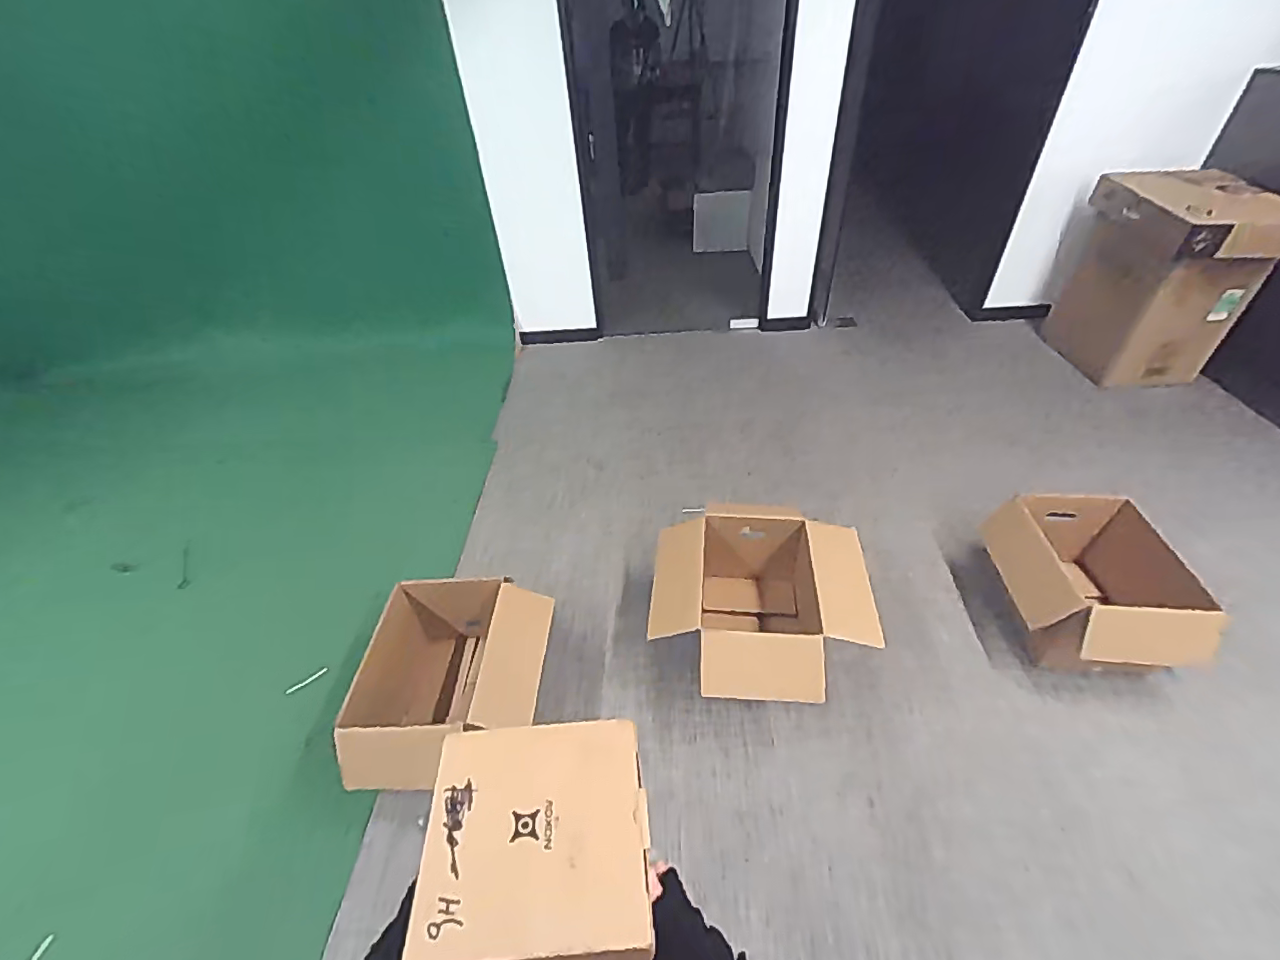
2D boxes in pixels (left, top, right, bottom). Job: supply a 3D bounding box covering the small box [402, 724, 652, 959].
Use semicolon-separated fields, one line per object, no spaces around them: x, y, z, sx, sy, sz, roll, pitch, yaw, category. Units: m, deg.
-0.087;0.344;0.490;0.179;0.176;0.168;-1;38;-4;small box
